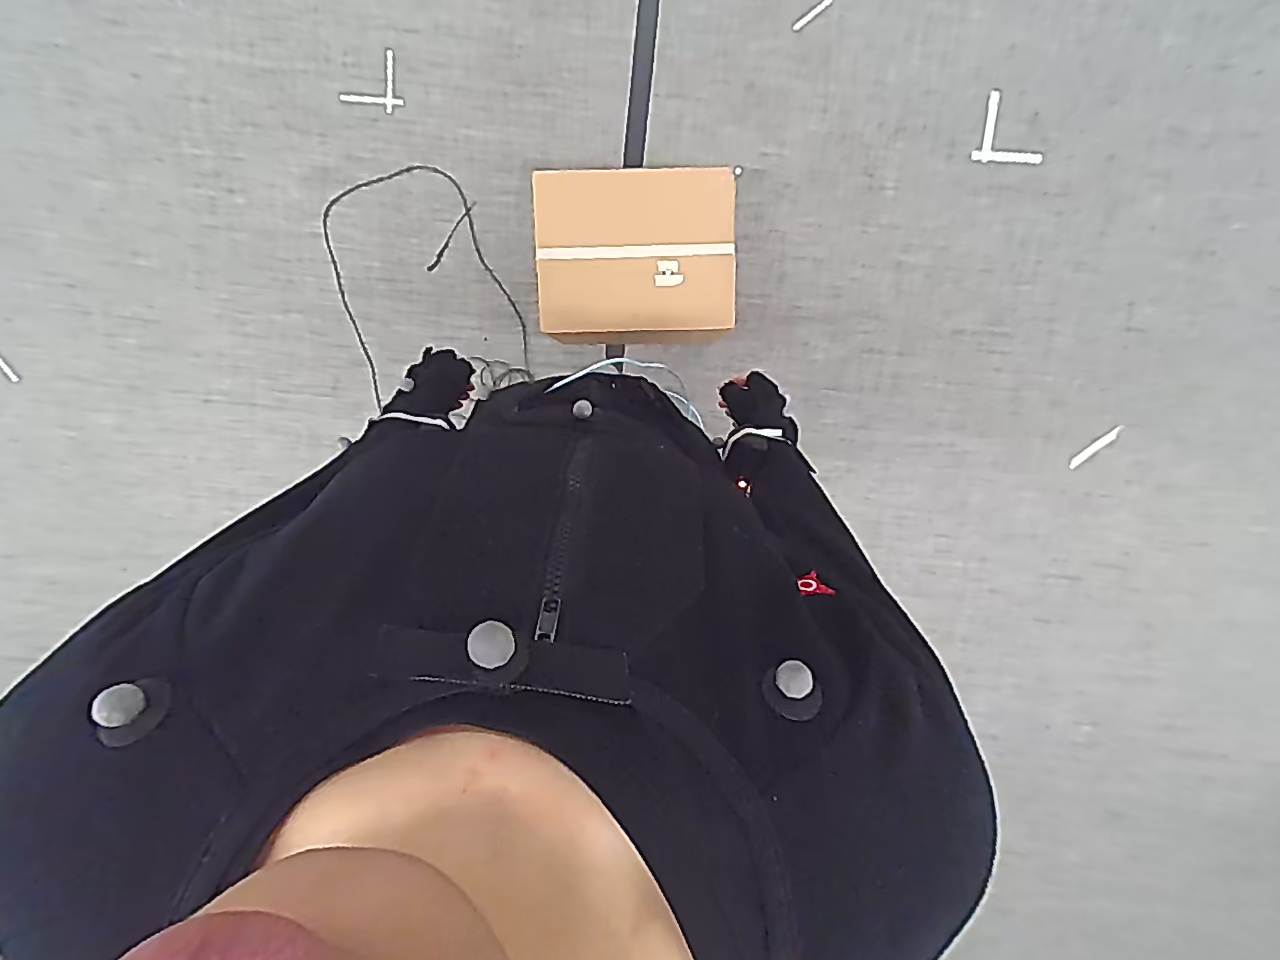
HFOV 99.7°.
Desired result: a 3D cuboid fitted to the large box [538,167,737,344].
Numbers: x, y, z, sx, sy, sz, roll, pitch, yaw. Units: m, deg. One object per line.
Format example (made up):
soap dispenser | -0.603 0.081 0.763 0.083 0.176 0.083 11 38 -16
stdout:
large box | -0.004 -0.492 1.249 0.408 0.320 0.320 -1 100 -1
